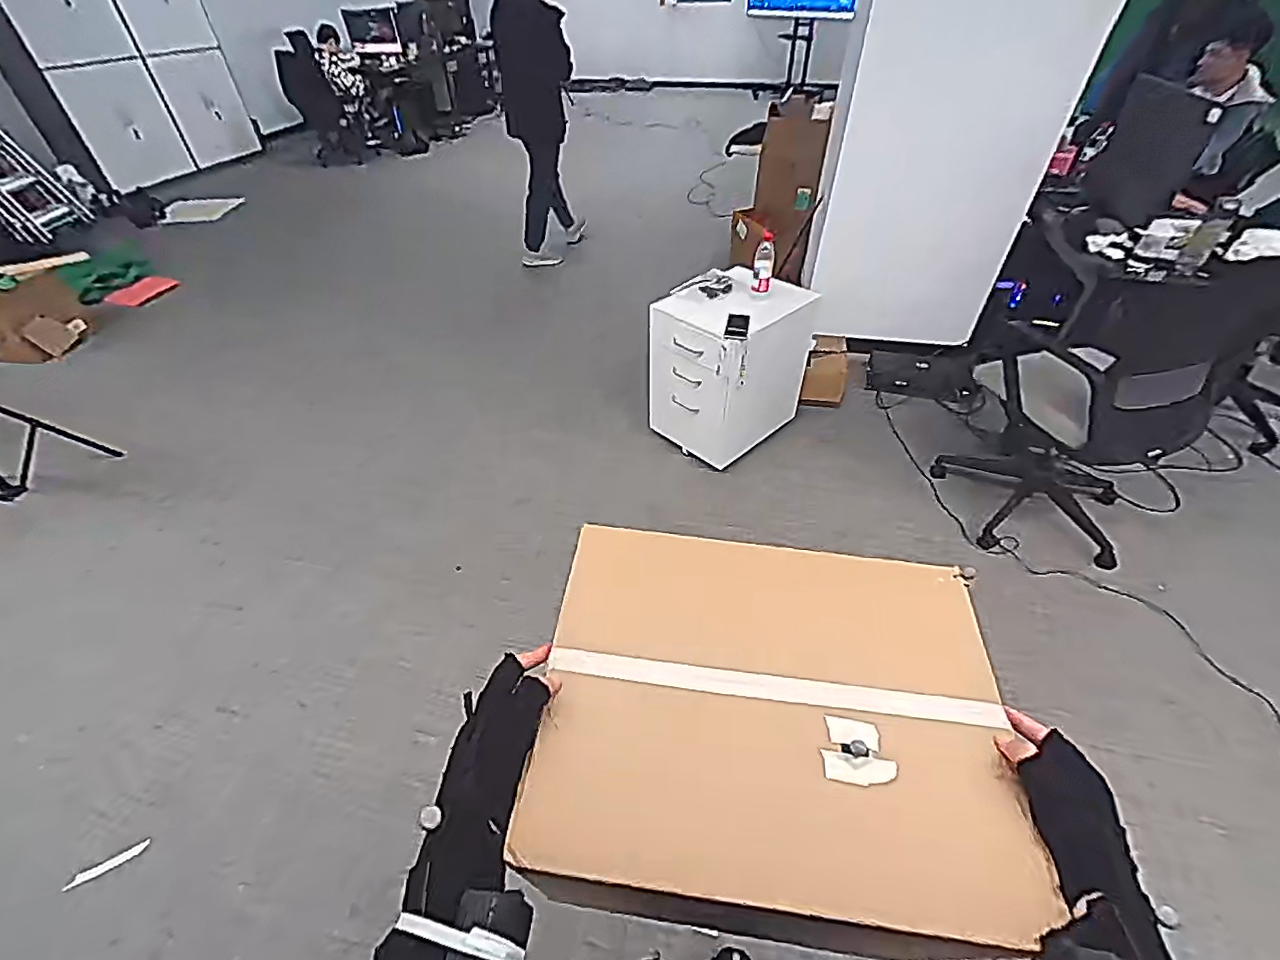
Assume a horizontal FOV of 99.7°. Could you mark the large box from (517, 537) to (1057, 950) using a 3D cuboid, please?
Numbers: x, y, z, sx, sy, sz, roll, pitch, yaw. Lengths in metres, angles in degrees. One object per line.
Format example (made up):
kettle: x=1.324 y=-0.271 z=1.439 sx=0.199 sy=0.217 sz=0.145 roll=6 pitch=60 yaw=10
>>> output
large box: x=0.113 y=0.293 z=0.603 sx=0.408 sy=0.320 sz=0.320 roll=7 pitch=49 yaw=4
